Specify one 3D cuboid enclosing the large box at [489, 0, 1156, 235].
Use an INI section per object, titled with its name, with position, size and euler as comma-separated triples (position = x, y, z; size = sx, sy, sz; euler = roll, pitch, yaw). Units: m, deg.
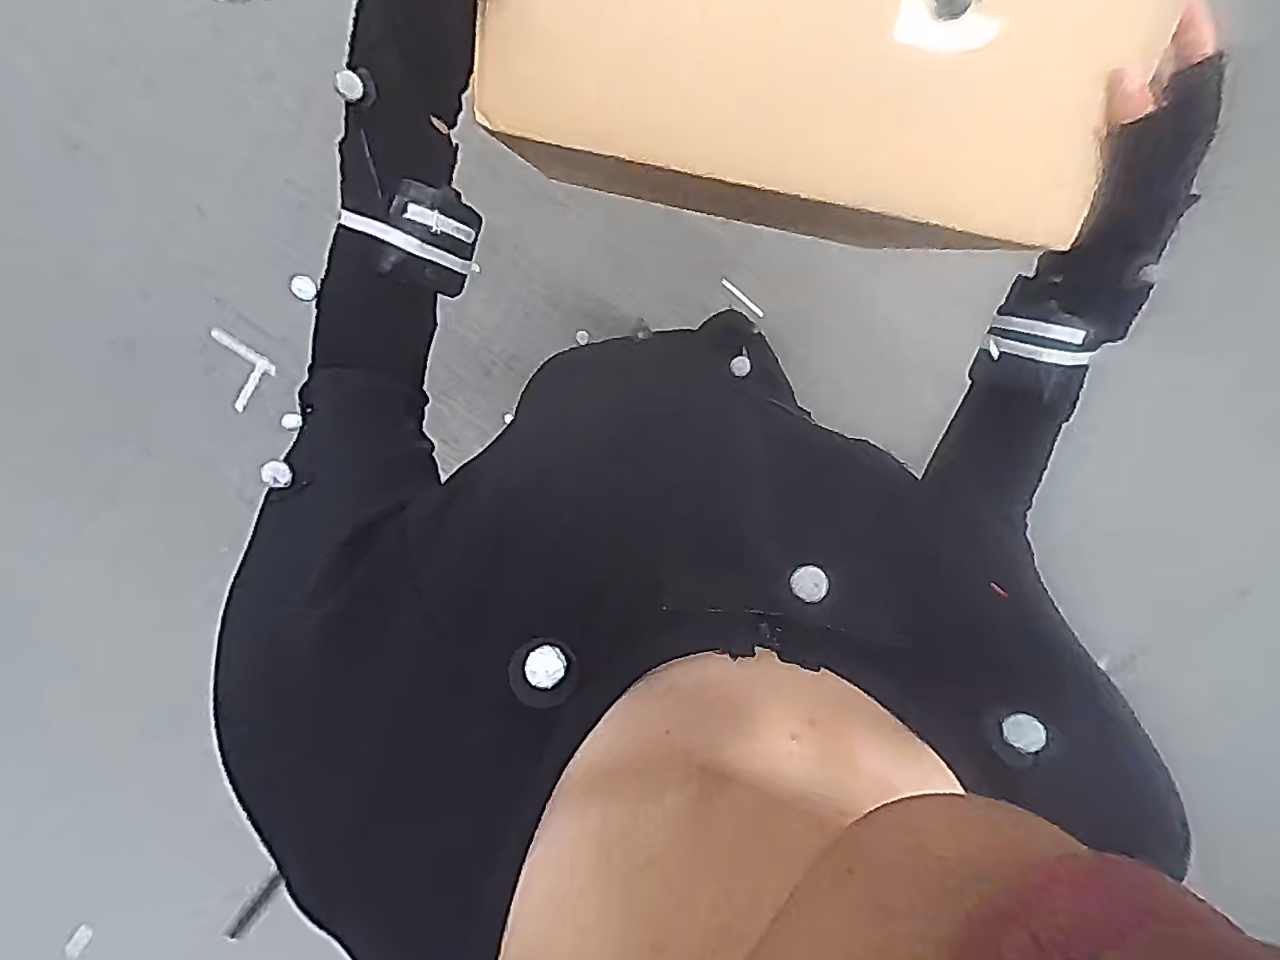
[large box]
position = 0.113, -0.398, 0.437
size = 0.408, 0.320, 0.320
euler = 7, 114, -6
